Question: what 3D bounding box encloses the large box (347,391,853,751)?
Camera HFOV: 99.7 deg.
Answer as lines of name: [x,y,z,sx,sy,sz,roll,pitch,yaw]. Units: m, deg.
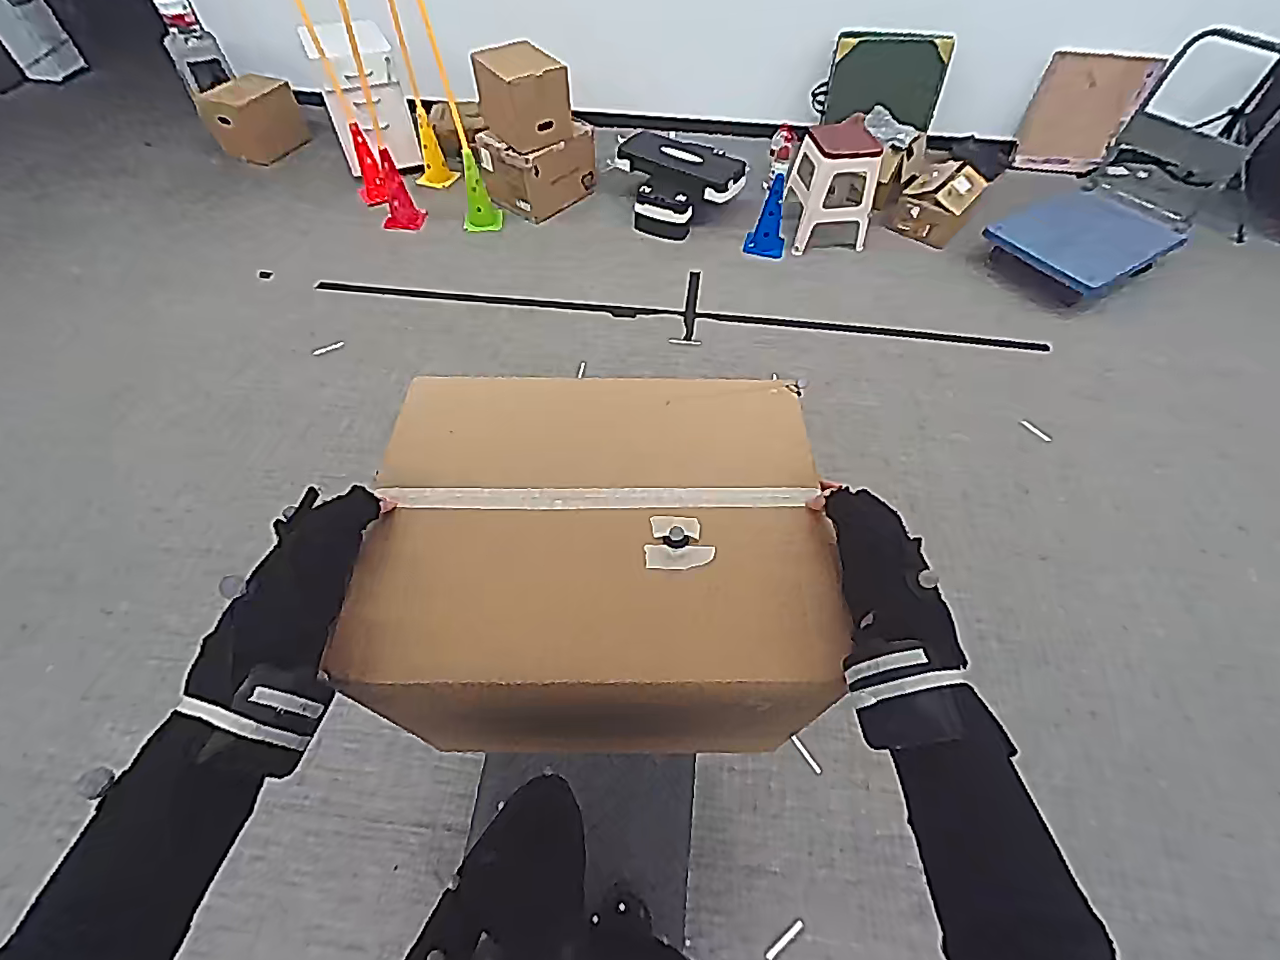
large box: [-0.035,0.113,0.625,0.408,0.320,0.320,0,55,-1]
